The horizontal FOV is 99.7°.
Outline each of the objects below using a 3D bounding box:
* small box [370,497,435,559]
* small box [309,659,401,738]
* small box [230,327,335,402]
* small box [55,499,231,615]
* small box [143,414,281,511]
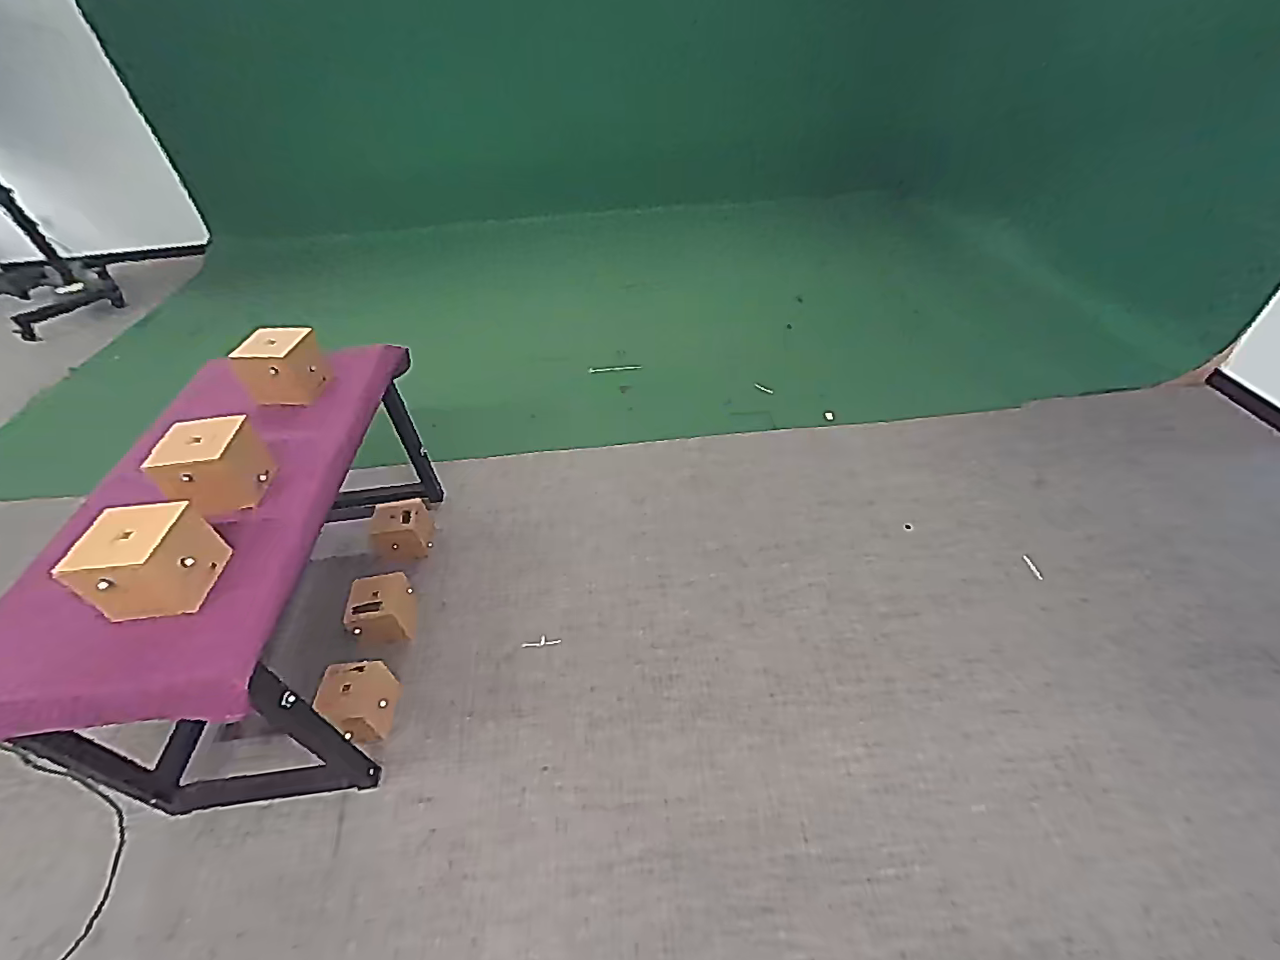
[{"bbox_3d":[-0.924,0.191,2.121,0.179,0.176,0.168,-9,44,-2],"label":"small box"},{"bbox_3d":[-0.847,0.664,1.629,0.168,0.176,0.179,-4,45,1],"label":"small box"},{"bbox_3d":[-1.077,-0.350,1.648,0.179,0.176,0.168,1,45,6],"label":"small box"},{"bbox_3d":[-1.006,0.161,1.119,0.179,0.176,0.168,-6,44,0],"label":"small box"},{"bbox_3d":[-1.038,-0.039,1.329,0.179,0.176,0.168,-7,45,-2],"label":"small box"}]
